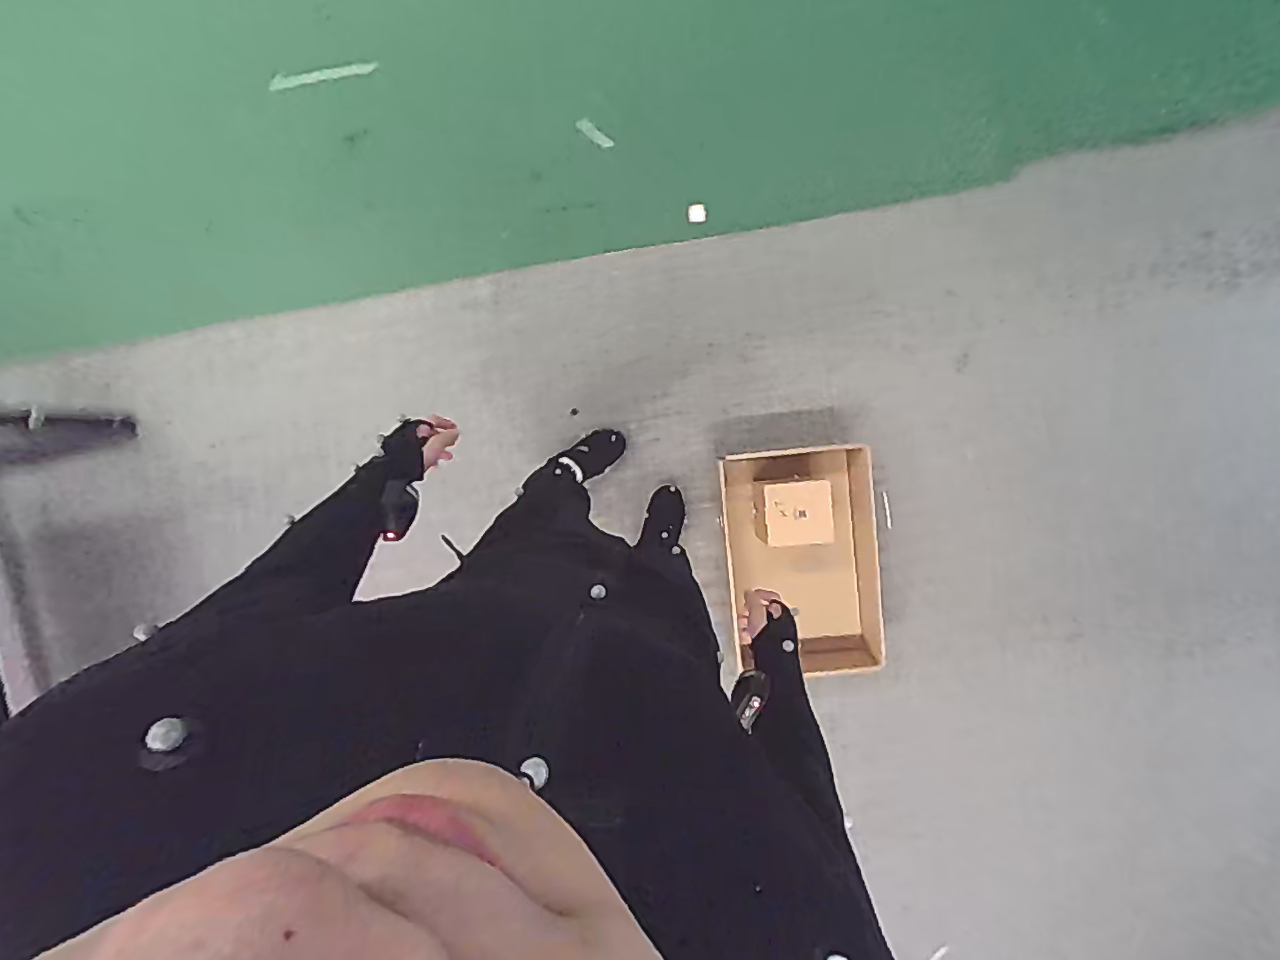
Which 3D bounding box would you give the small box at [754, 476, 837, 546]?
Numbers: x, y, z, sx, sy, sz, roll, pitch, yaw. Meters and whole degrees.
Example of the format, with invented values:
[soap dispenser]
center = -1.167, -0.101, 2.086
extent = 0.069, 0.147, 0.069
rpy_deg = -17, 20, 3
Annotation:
[small box]
center = 0.419, 0.080, 1.475
extent = 0.179, 0.176, 0.168
rpy_deg = -4, 93, 2
